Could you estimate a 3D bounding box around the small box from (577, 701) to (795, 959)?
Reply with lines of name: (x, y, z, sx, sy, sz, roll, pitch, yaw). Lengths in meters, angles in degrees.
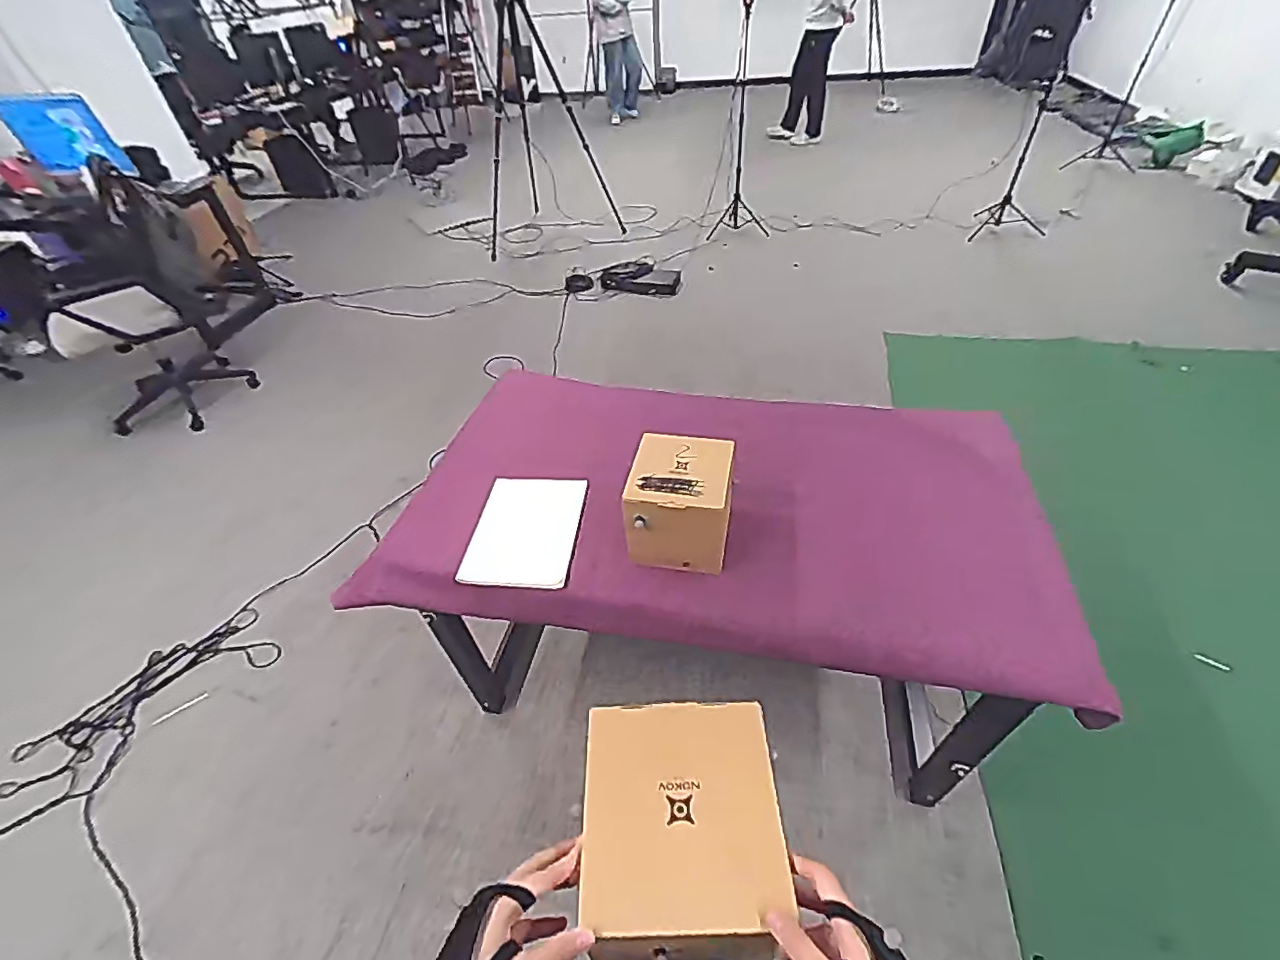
small box: (0.038, 0.334, 0.511, 0.168, 0.176, 0.179, -2, 40, 1)
